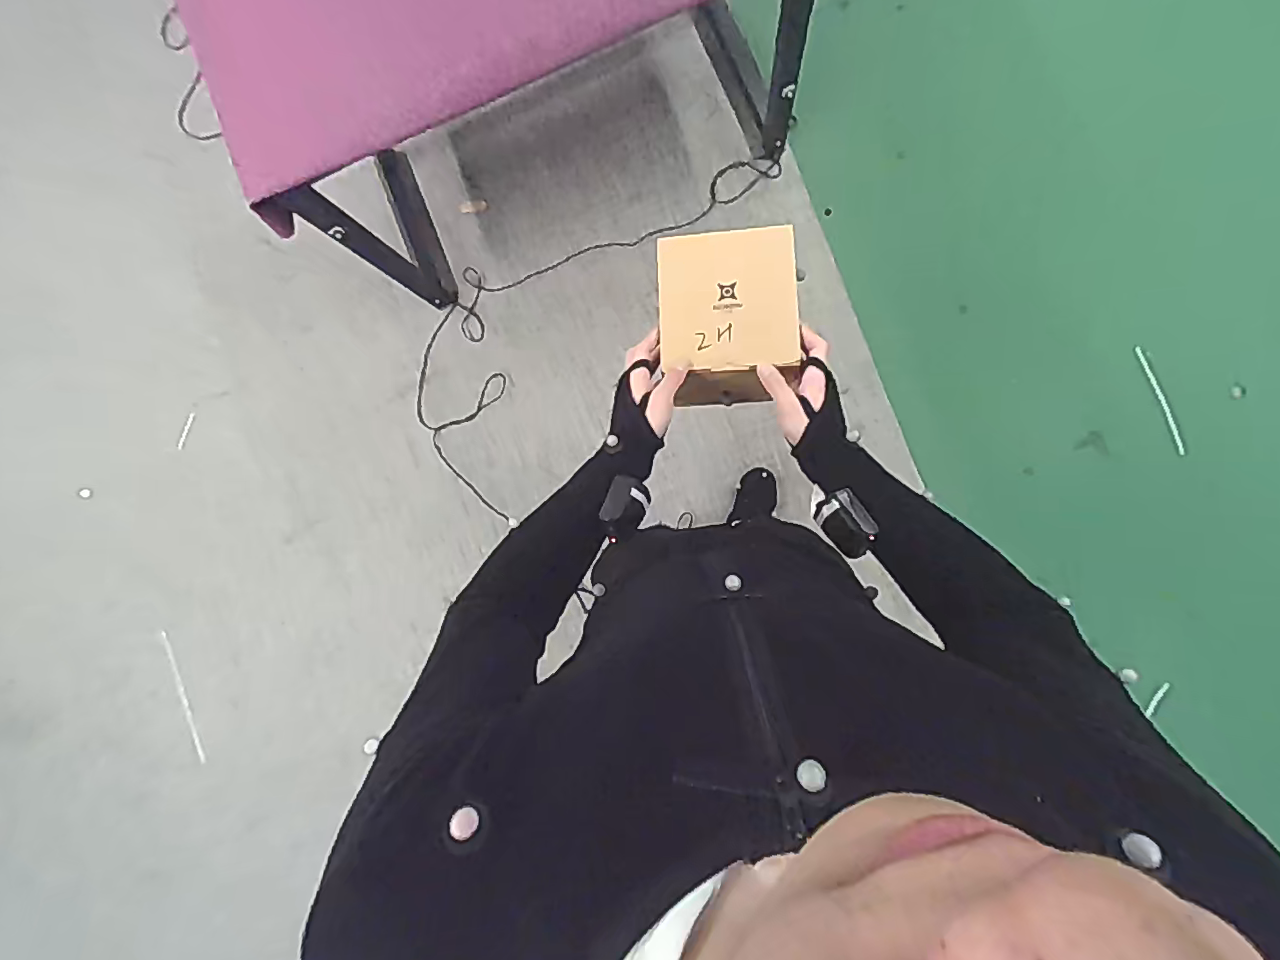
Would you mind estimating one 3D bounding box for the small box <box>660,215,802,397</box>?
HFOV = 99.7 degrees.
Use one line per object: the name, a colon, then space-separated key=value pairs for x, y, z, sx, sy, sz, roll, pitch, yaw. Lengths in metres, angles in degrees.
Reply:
small box: x=0.116 y=-0.219 z=0.721 sx=0.168 sy=0.176 sz=0.179 roll=-2 pitch=85 yaw=8
